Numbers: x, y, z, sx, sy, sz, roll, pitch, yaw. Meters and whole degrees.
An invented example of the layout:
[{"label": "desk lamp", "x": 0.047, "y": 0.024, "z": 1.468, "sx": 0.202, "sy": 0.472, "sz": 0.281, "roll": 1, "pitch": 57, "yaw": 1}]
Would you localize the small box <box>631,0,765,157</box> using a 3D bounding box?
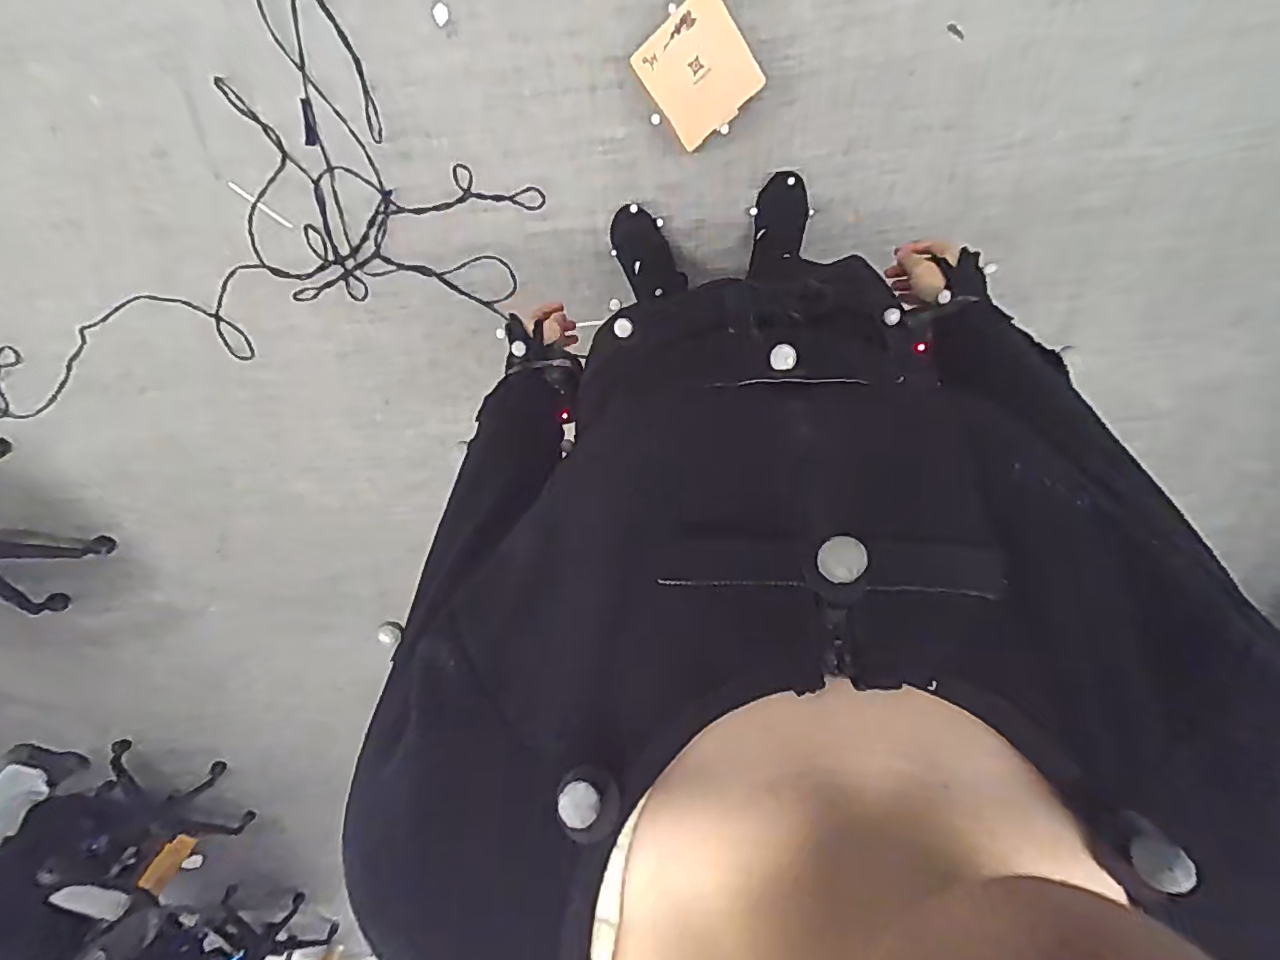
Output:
[{"label": "small box", "x": 0.102, "y": -0.721, "z": 0.980, "sx": 0.168, "sy": 0.176, "sz": 0.179, "roll": -34, "pitch": 113, "yaw": 19}]
